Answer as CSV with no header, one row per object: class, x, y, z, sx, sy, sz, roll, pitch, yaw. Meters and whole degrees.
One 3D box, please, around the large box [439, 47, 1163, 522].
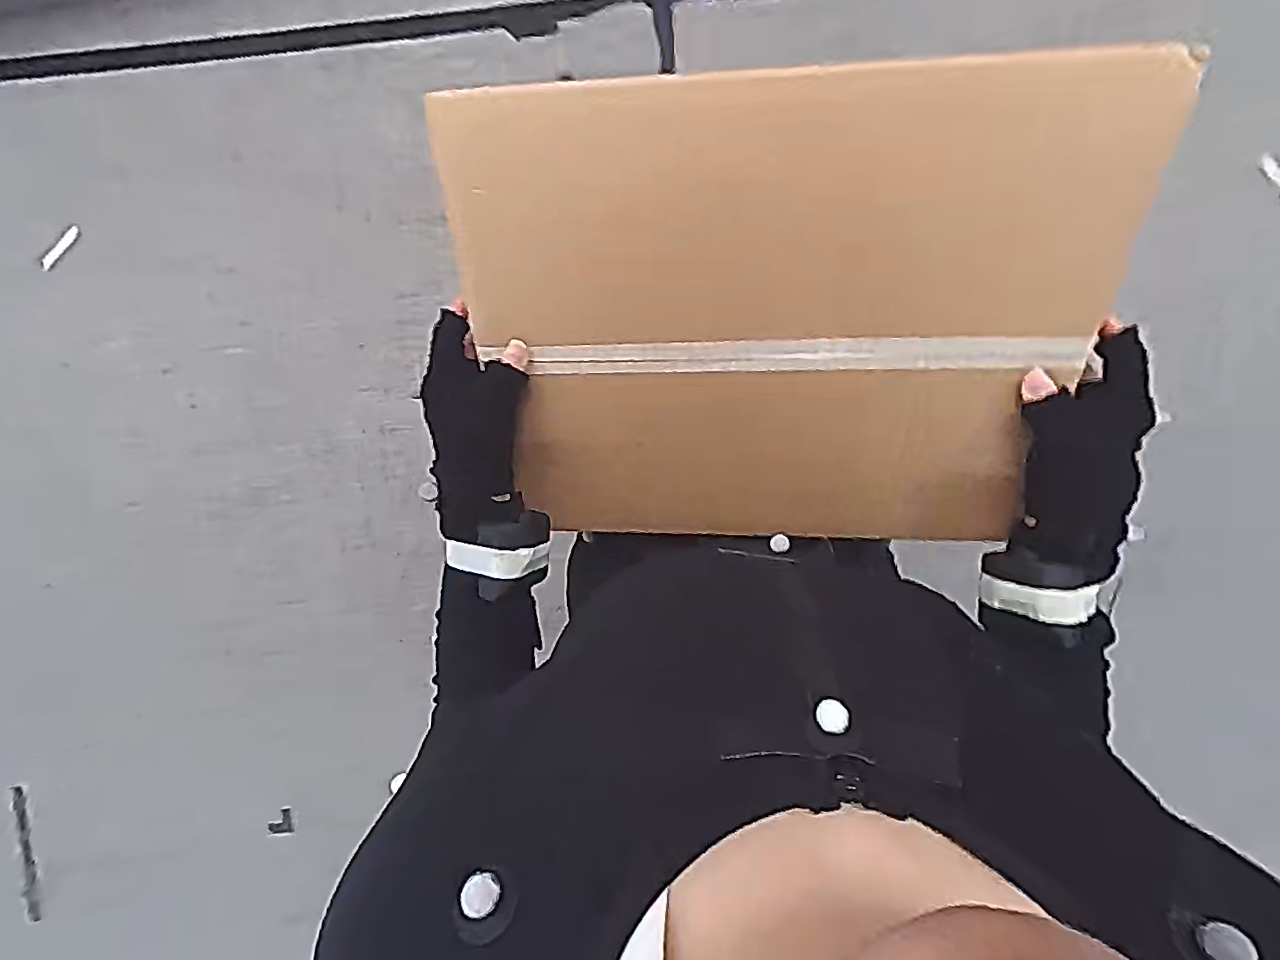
large box,0.096,-0.174,0.504,0.408,0.320,0.320,1,124,6
